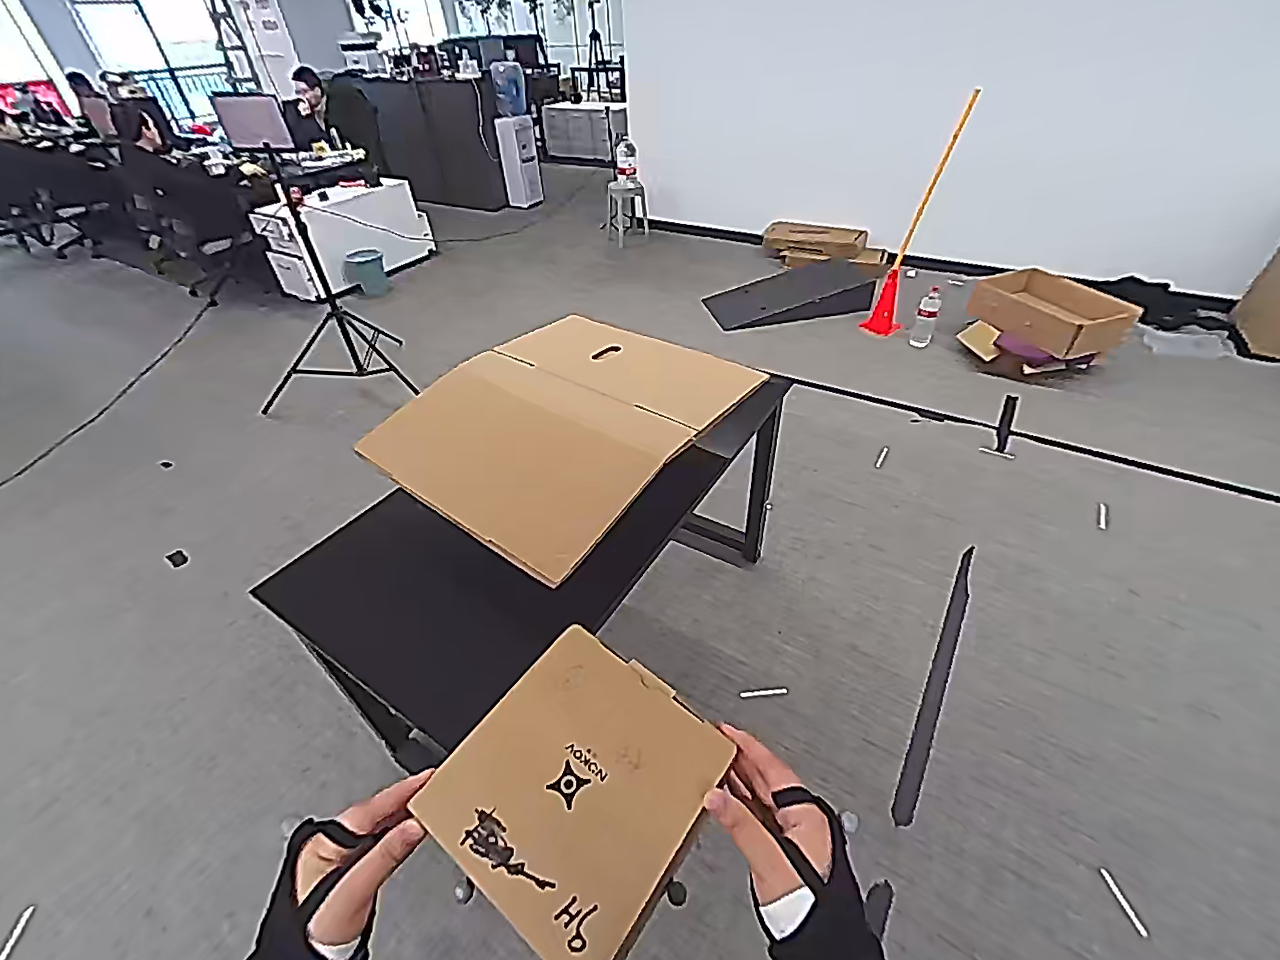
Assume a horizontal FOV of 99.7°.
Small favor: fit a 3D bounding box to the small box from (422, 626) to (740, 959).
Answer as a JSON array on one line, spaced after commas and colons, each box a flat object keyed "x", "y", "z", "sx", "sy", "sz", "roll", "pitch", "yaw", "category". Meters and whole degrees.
[{"x": -0.041, "y": 0.265, "z": 0.449, "sx": 0.168, "sy": 0.176, "sz": 0.179, "roll": 29, "pitch": 53, "yaw": 25, "category": "small box"}]
